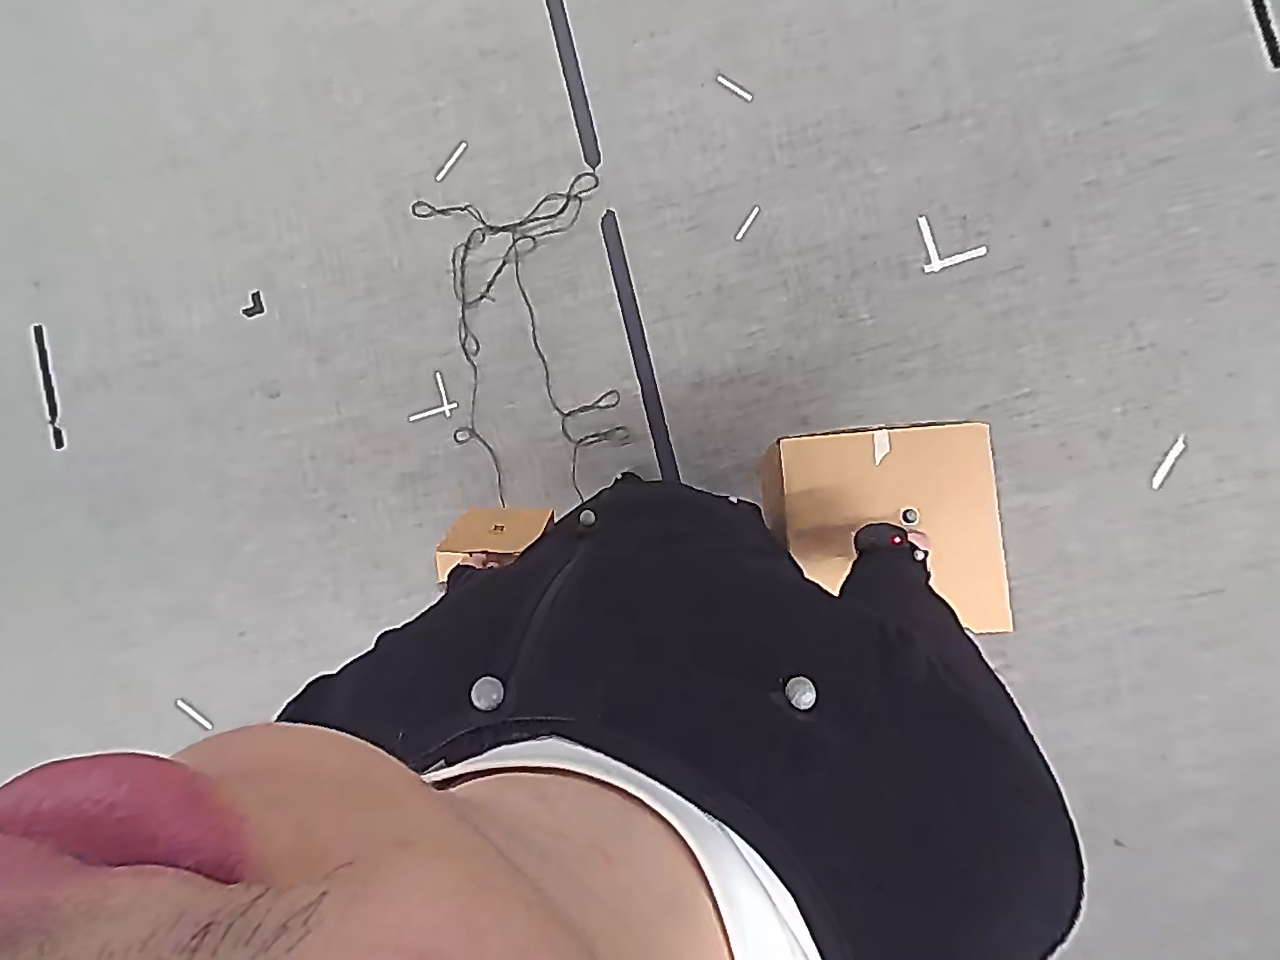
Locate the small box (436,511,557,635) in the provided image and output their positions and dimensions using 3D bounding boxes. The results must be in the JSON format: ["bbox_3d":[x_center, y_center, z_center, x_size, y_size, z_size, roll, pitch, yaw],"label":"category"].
[{"bbox_3d":[-0.252,0.168,0.997,0.168,0.179,0.176,1,111,3],"label":"small box"}]
